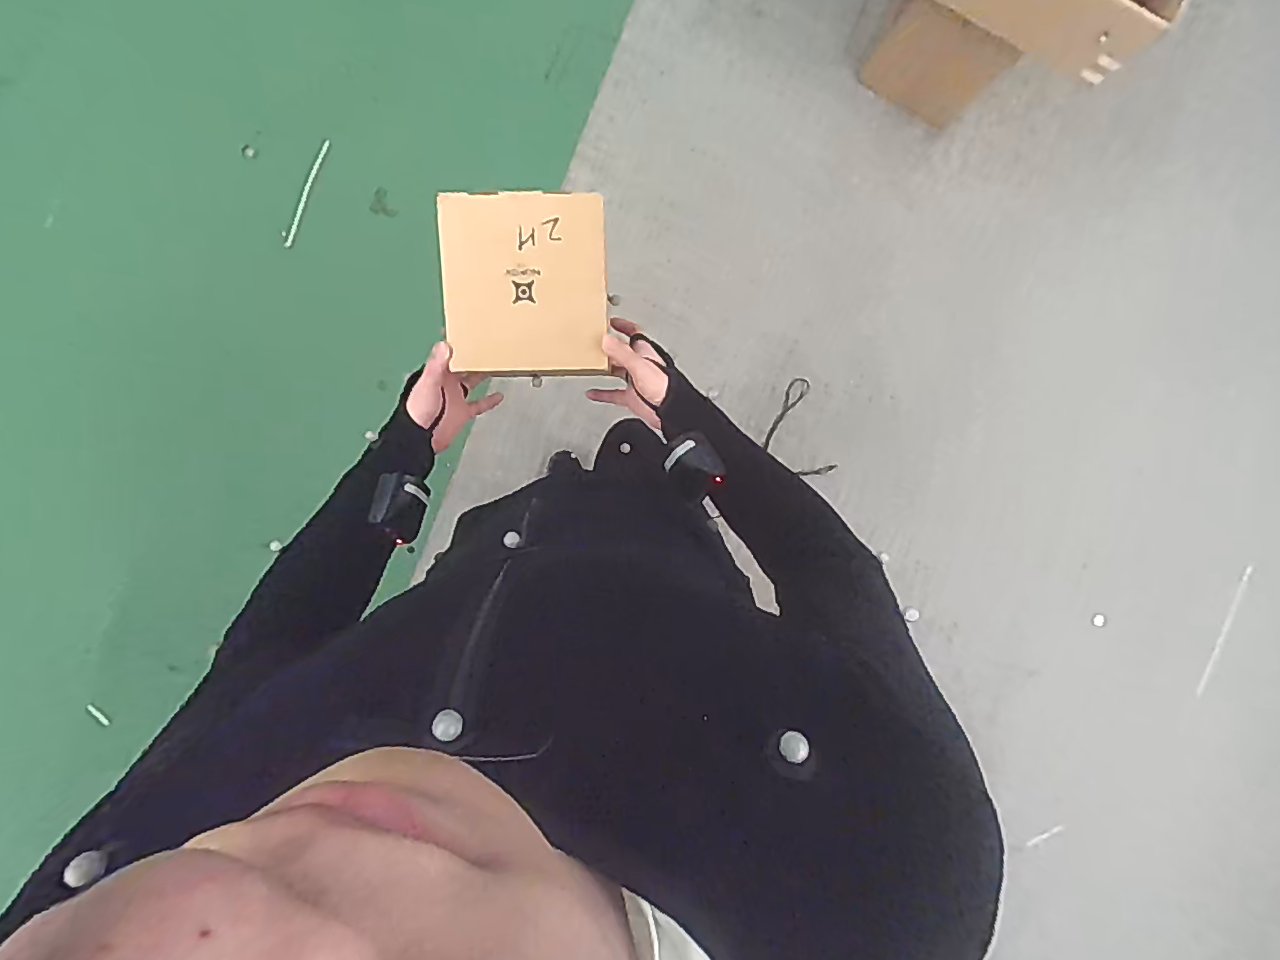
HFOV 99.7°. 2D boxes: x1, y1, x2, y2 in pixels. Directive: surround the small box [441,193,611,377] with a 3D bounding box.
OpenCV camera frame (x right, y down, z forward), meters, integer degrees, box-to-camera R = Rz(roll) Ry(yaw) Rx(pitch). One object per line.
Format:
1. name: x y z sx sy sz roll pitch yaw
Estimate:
1. small box: -0.118 -0.210 0.628 0.168 0.176 0.179 0 98 -2
